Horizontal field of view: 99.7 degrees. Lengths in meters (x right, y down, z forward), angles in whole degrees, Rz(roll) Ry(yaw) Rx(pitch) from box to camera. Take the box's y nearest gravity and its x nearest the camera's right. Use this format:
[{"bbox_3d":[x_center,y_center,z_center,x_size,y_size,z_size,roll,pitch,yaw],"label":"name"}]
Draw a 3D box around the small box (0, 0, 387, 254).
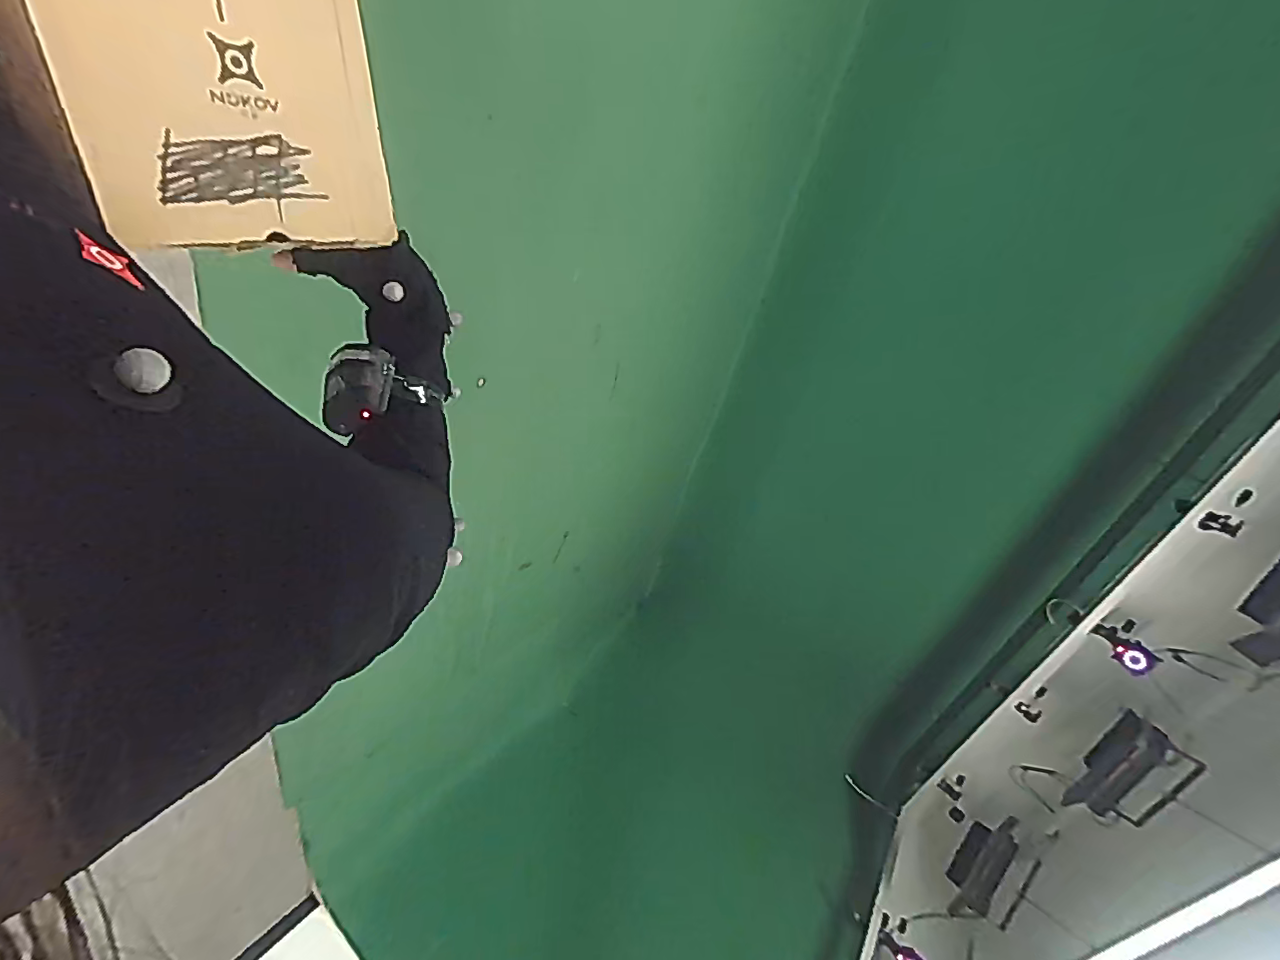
[{"bbox_3d":[-0.302,-0.248,0.355,0.168,0.176,0.179,-31,128,-49],"label":"small box"}]
